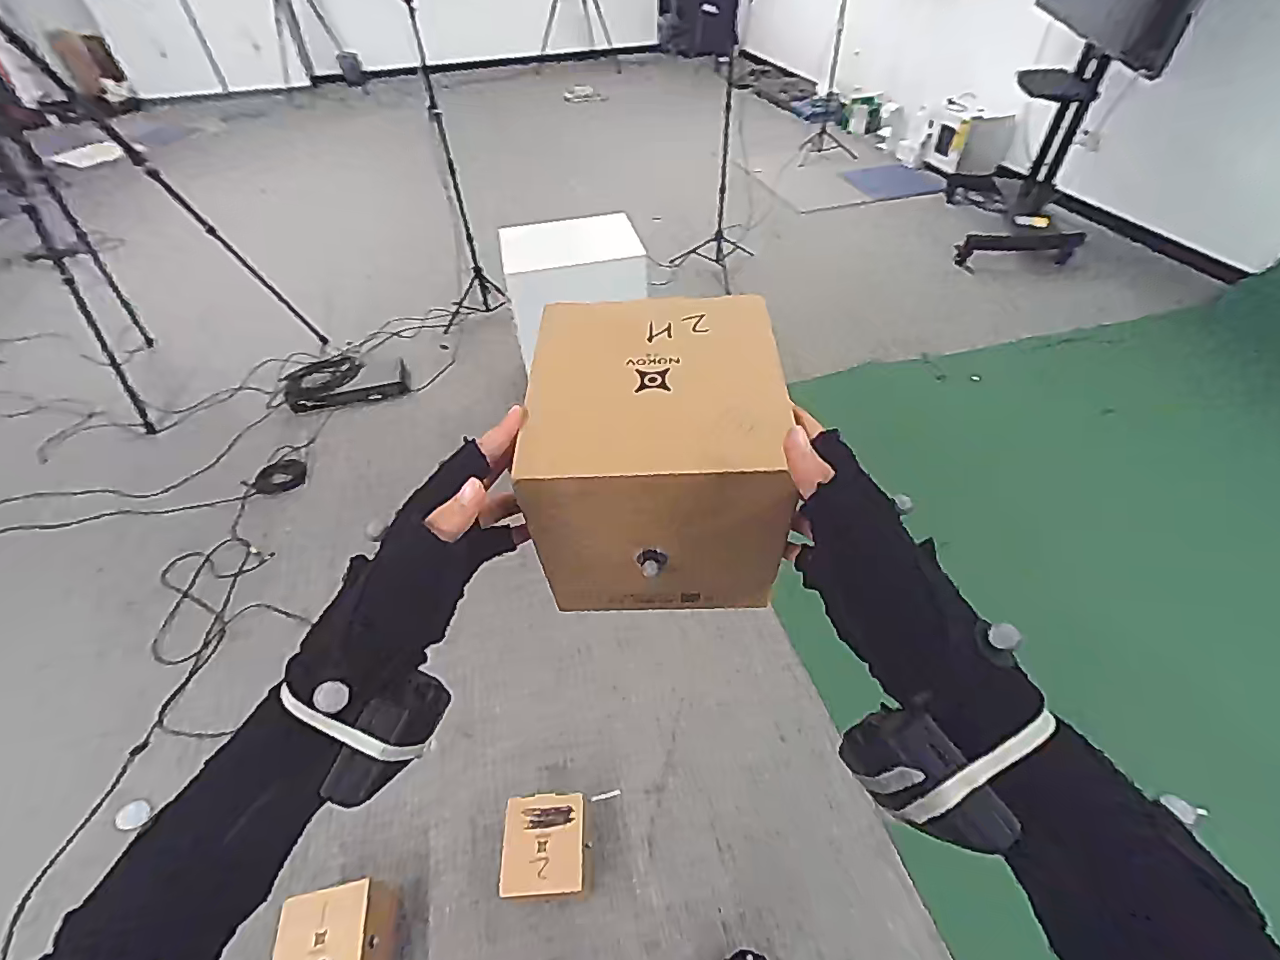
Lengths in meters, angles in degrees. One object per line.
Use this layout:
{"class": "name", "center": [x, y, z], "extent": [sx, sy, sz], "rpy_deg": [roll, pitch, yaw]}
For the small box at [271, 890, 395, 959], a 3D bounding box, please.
{"class": "small box", "center": [-0.599, 0.940, 1.063], "extent": [0.168, 0.176, 0.179], "rpy_deg": [-10, 47, -7]}
